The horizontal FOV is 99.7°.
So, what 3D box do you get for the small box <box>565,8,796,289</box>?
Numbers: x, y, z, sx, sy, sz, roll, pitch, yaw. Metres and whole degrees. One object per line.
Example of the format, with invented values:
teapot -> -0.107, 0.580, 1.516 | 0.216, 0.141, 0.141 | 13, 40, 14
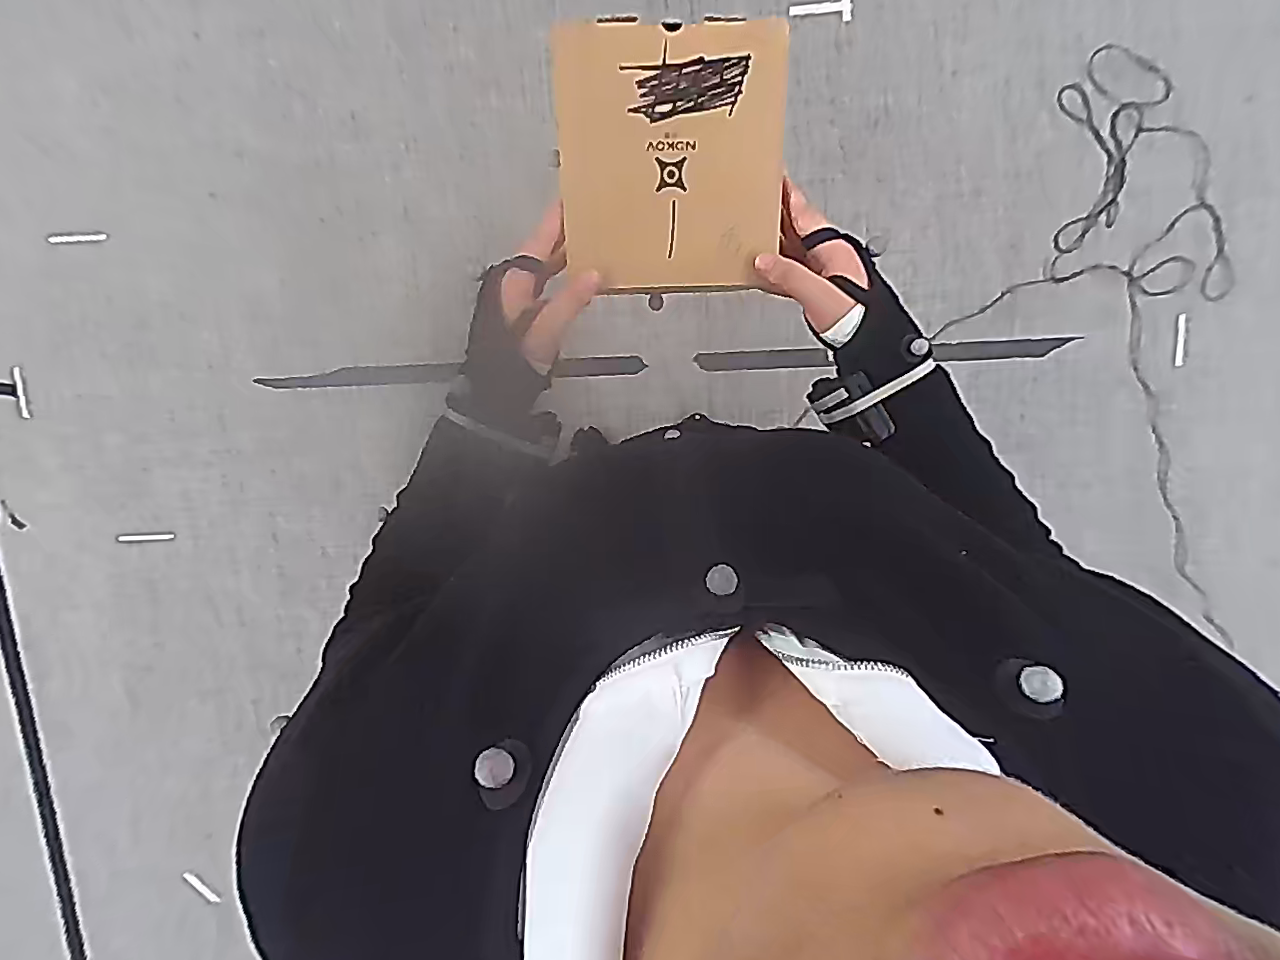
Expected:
small box -> 0.026, -0.265, 0.473 | 0.168, 0.176, 0.179 | -2, 108, -2
